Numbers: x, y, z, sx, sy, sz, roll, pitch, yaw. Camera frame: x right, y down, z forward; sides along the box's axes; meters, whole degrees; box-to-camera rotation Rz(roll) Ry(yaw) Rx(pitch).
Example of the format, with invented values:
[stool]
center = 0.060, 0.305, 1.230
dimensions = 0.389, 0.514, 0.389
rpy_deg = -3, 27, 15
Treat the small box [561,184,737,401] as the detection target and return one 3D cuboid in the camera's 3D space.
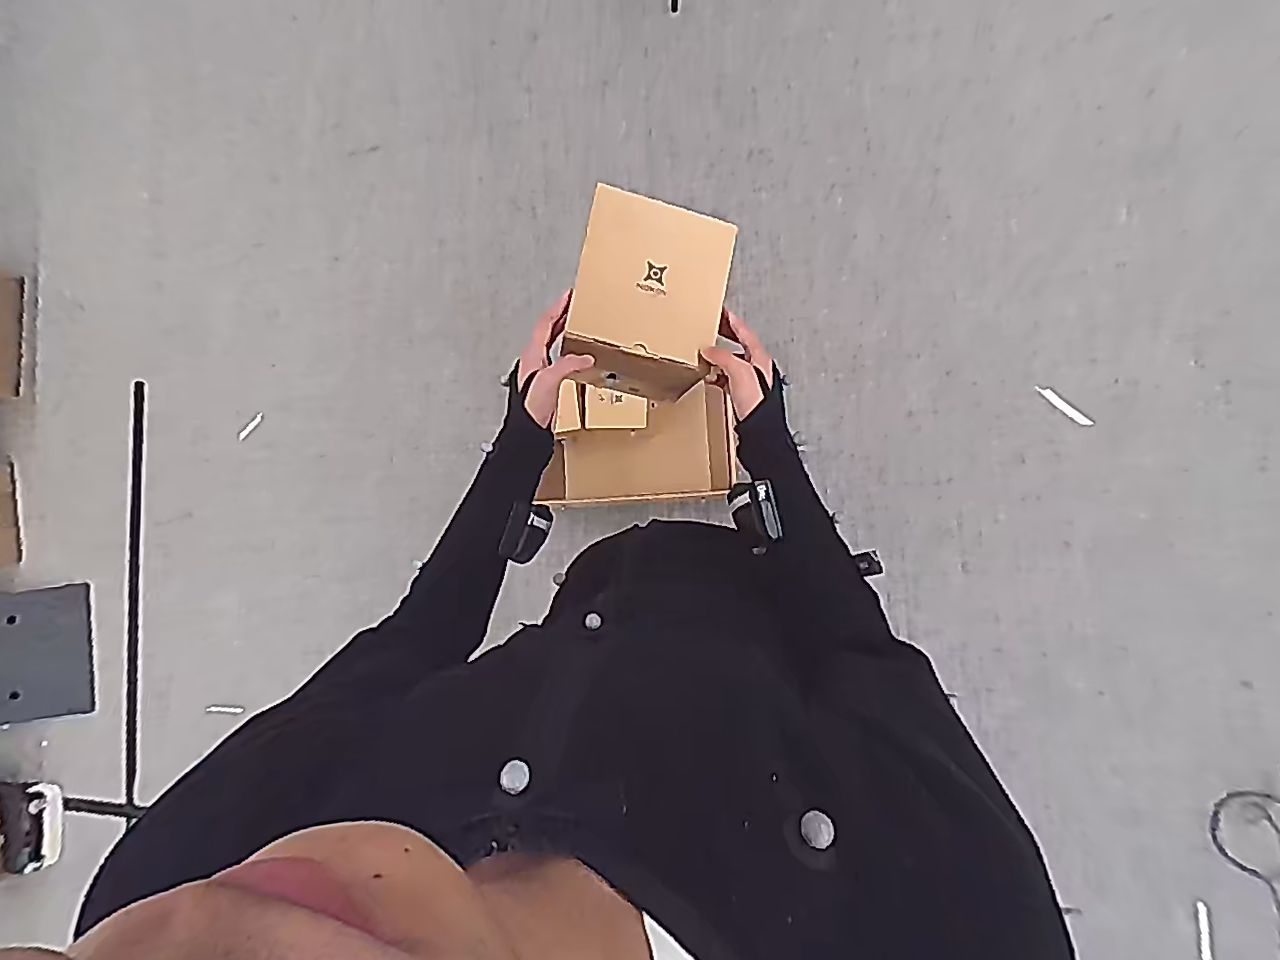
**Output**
[small box]
center = 0.001, -0.212, 0.661
dimensions = 0.168, 0.176, 0.179
rpy_deg = 12, 84, -10
